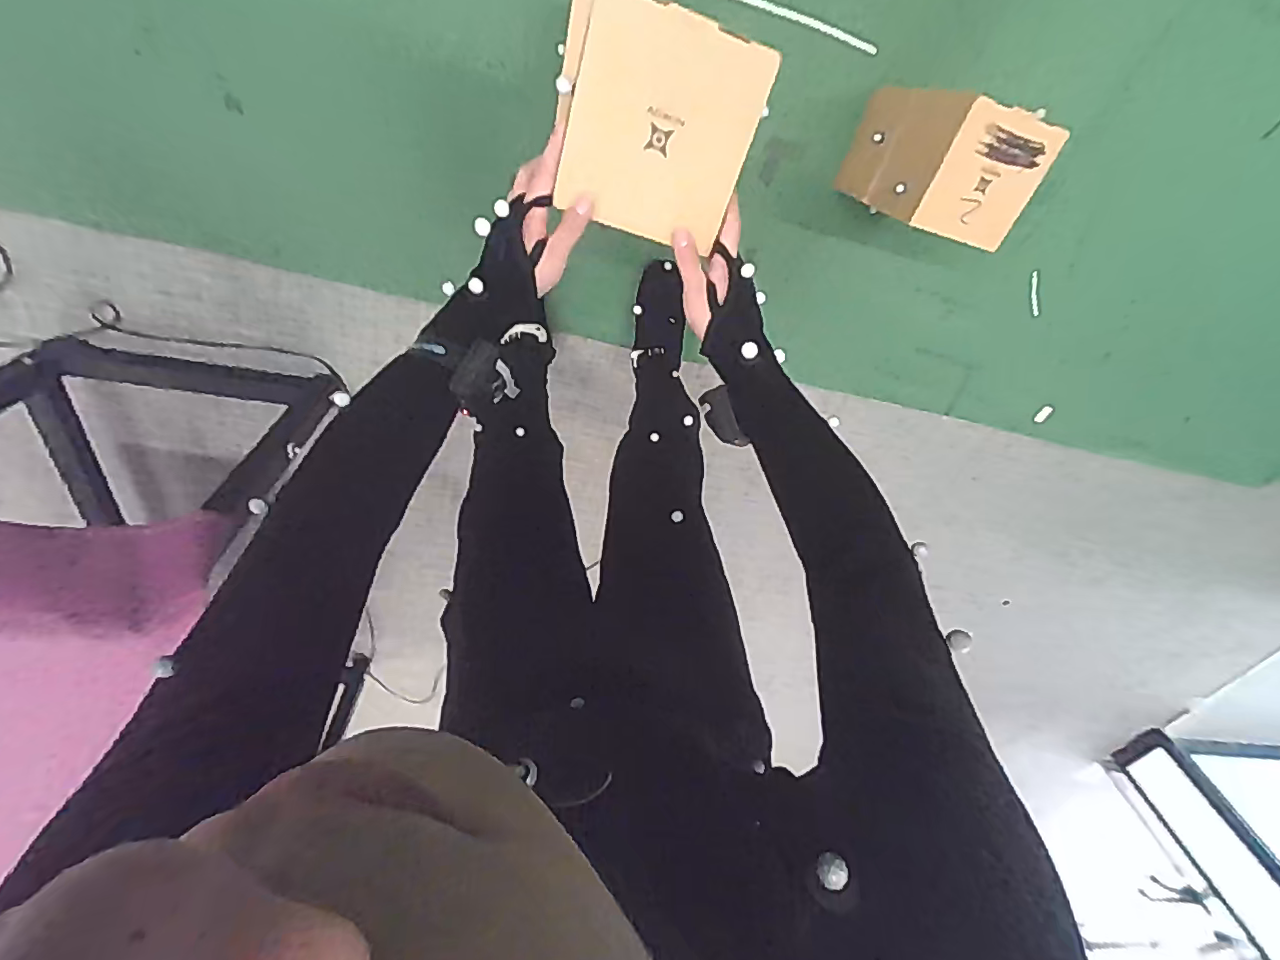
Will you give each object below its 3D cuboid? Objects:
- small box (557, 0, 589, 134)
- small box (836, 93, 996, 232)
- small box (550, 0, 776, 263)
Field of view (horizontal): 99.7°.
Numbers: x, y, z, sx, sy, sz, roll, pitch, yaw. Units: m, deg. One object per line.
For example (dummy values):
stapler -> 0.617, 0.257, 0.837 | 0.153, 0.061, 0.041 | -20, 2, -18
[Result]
small box -> -0.041, -0.662, 0.903 | 0.168, 0.176, 0.179 | 10, 127, -11
small box -> 0.494, -0.591, 1.001 | 0.168, 0.176, 0.179 | 11, 126, -13
small box -> 0.009, -0.356, 0.549 | 0.168, 0.176, 0.179 | 10, 131, -16
